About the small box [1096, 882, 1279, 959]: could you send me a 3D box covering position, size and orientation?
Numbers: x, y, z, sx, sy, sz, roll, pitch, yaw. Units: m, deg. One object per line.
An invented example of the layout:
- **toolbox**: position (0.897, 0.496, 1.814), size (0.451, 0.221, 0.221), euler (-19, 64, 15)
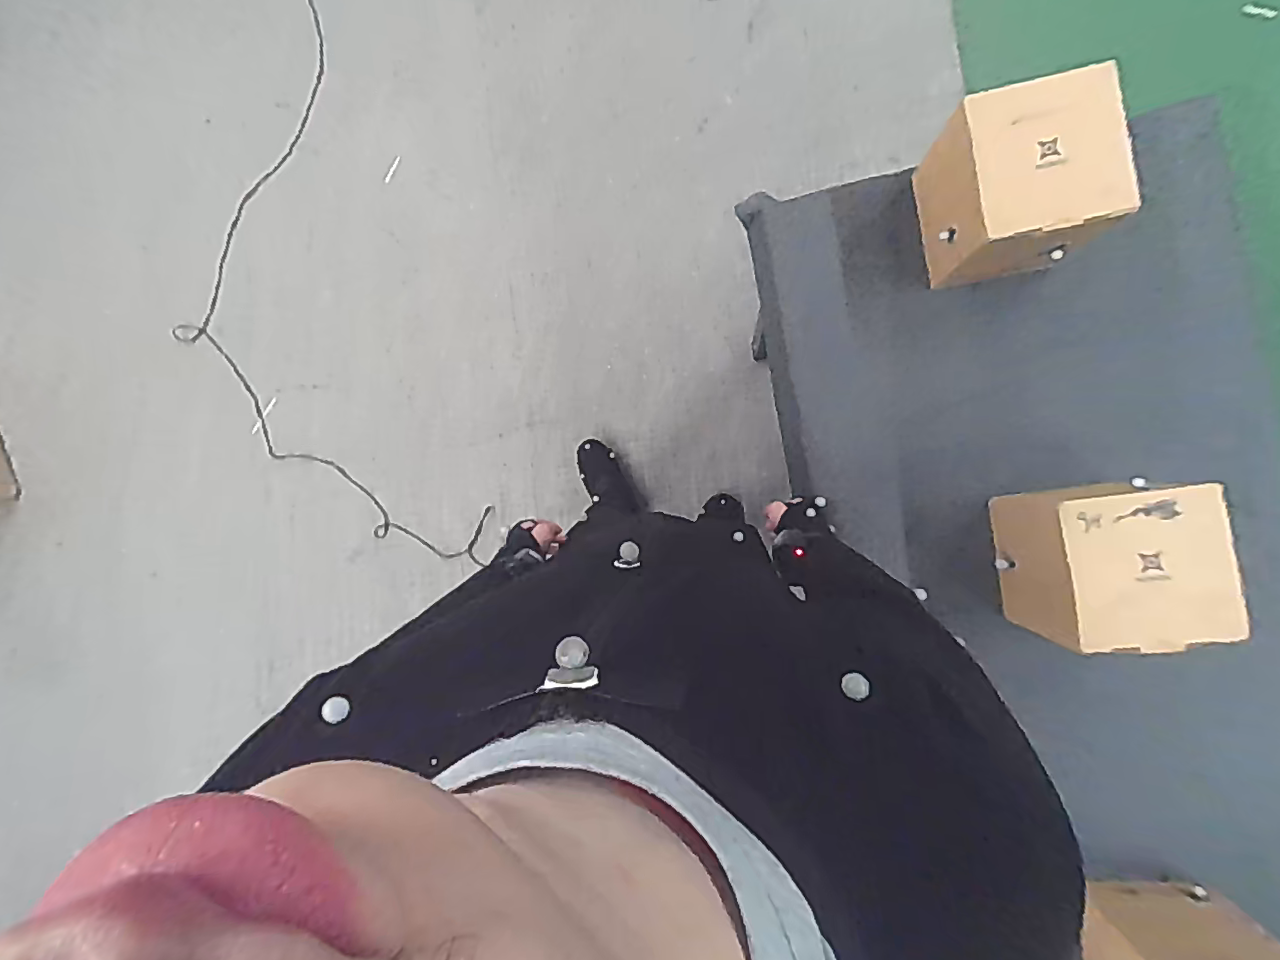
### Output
- **small box**: position (0.700, 0.623, 0.653), size (0.168, 0.176, 0.179), euler (-7, 88, 6)

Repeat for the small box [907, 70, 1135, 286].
- **small box**: position (0.476, -0.371, 0.704), size (0.168, 0.176, 0.179), euler (-11, 86, 4)

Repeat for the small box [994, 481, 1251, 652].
- **small box**: position (0.584, 0.097, 0.681), size (0.168, 0.176, 0.179), euler (-9, 88, 6)
